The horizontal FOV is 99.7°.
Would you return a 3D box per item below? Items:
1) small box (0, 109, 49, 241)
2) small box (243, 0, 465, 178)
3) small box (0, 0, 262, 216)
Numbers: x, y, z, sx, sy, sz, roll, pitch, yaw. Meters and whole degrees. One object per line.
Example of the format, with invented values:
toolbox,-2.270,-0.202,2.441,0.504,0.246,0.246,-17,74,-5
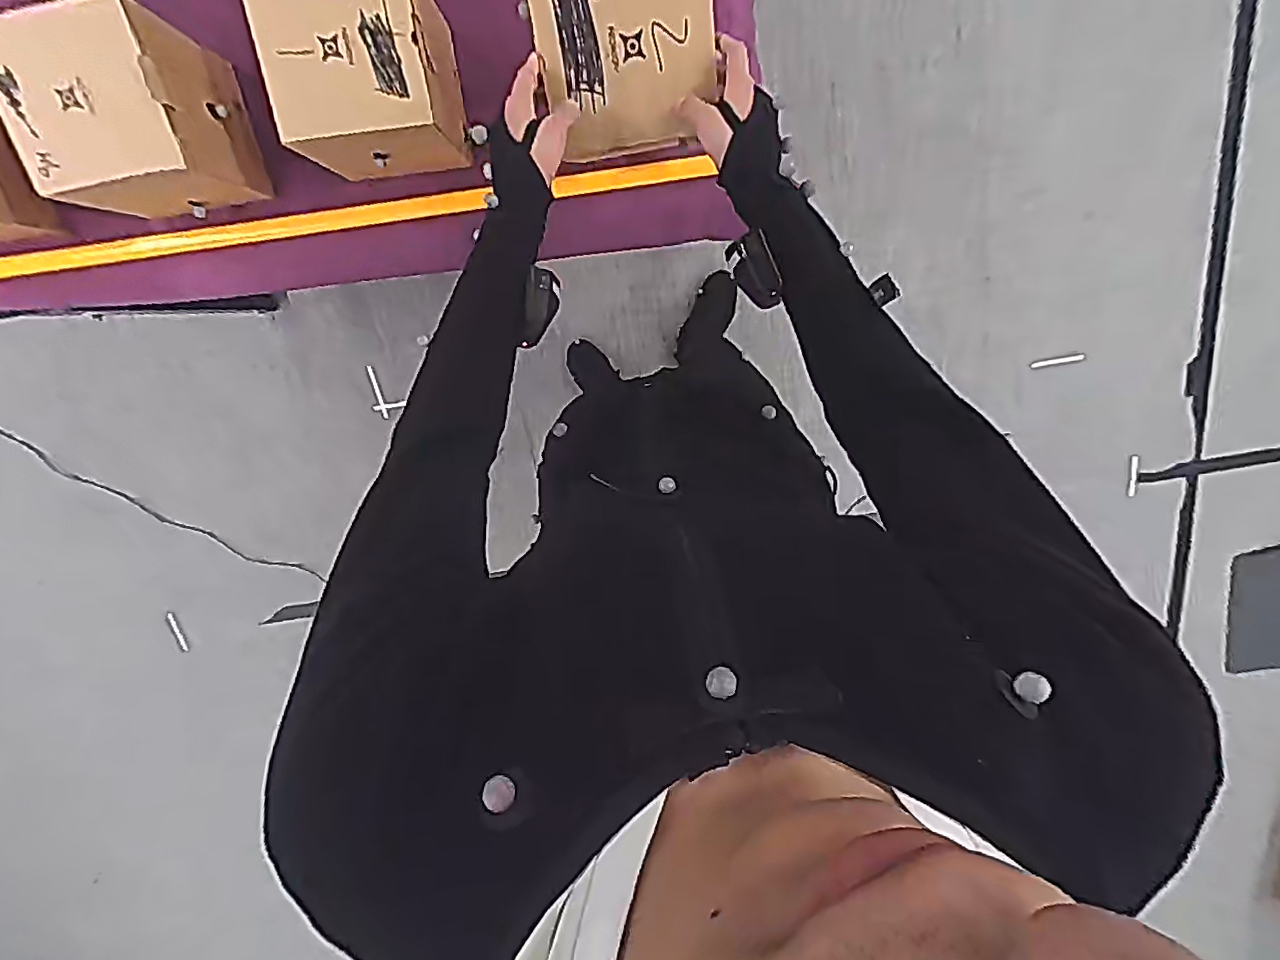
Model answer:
small box,-0.898,-0.390,0.657,0.179,0.176,0.168,-10,107,-2
small box,-0.325,-0.483,0.654,0.179,0.176,0.168,-7,106,1
small box,-0.606,-0.435,0.658,0.179,0.176,0.168,-11,107,0
